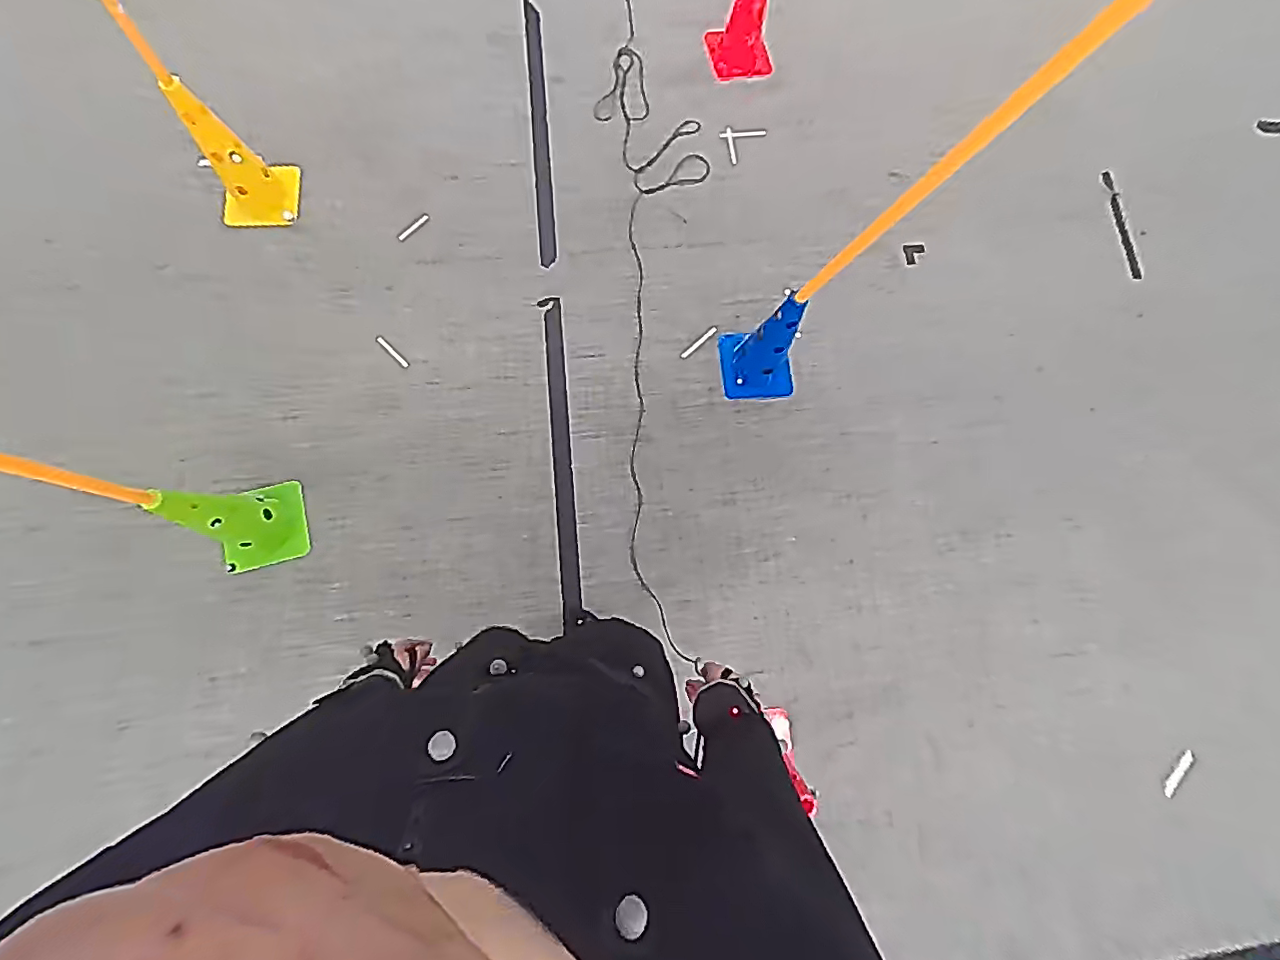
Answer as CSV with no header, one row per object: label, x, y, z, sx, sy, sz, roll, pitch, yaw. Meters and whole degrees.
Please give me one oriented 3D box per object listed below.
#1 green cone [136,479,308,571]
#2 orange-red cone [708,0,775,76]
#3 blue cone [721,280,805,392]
green cone,-0.932,0.067,1.188,0.200,0.368,0.202,-15,76,-7
orange-red cone,0.344,-1.465,1.625,0.199,0.360,0.198,-10,77,-5
blue cone,0.343,-0.379,1.388,0.193,0.380,0.192,-2,76,-4
